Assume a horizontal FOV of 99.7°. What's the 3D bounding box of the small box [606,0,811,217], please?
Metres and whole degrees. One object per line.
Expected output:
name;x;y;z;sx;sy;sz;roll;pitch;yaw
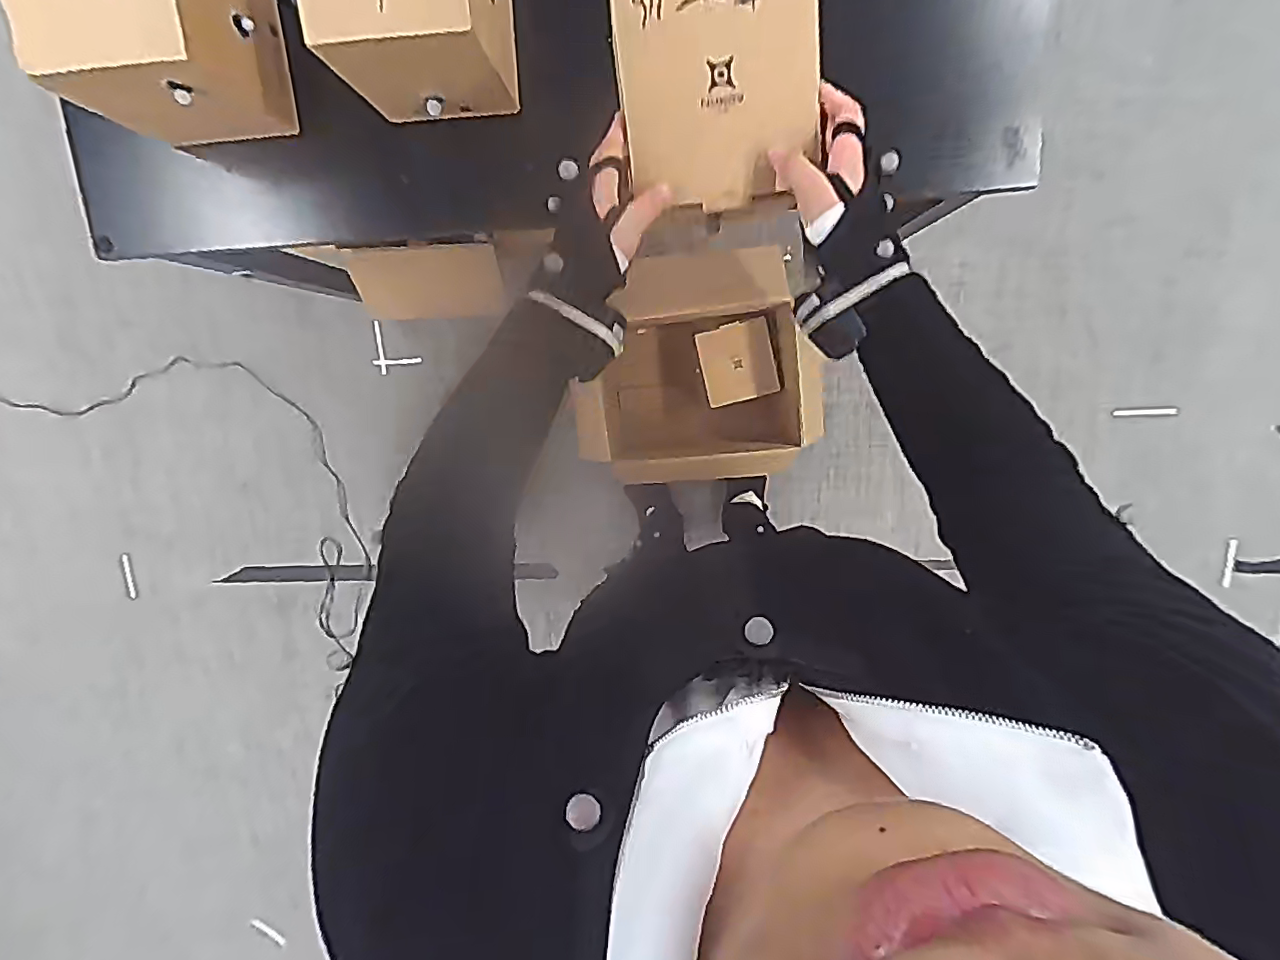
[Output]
small box;0.062;-0.364;0.529;0.168;0.176;0.179;-7;110;2

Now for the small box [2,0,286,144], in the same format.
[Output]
small box;-0.522;-0.493;0.589;0.179;0.176;0.168;-4;101;3

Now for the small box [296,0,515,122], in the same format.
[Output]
small box;-0.239;-0.516;0.572;0.168;0.176;0.179;-2;102;3
